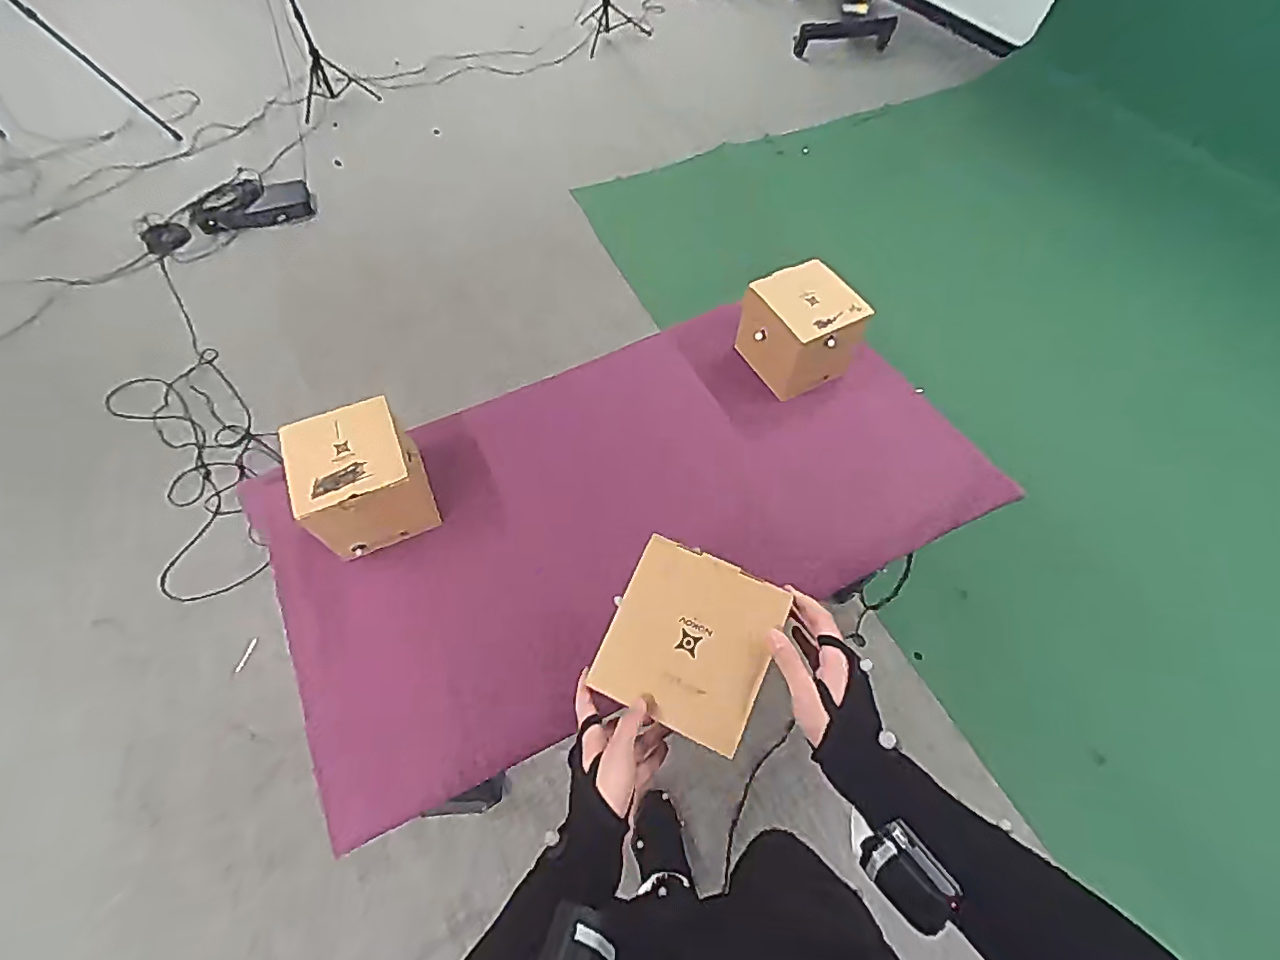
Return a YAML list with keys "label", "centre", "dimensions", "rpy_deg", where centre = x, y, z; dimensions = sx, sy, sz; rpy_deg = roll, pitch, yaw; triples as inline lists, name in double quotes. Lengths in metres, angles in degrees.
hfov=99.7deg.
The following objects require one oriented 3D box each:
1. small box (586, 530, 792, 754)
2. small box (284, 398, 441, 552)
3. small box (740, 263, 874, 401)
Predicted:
- label: "small box"
  centre: [0.059, 0.183, 0.636]
  dimensions: [0.168, 0.176, 0.179]
  rpy_deg: [23, 77, 13]
- label: "small box"
  centre: [-0.449, 0.001, 0.894]
  dimensions: [0.168, 0.176, 0.179]
  rpy_deg: [-21, 62, -13]
- label: "small box"
  centre: [0.318, -0.290, 1.073]
  dimensions: [0.168, 0.176, 0.179]
  rpy_deg: [-25, 62, -13]
